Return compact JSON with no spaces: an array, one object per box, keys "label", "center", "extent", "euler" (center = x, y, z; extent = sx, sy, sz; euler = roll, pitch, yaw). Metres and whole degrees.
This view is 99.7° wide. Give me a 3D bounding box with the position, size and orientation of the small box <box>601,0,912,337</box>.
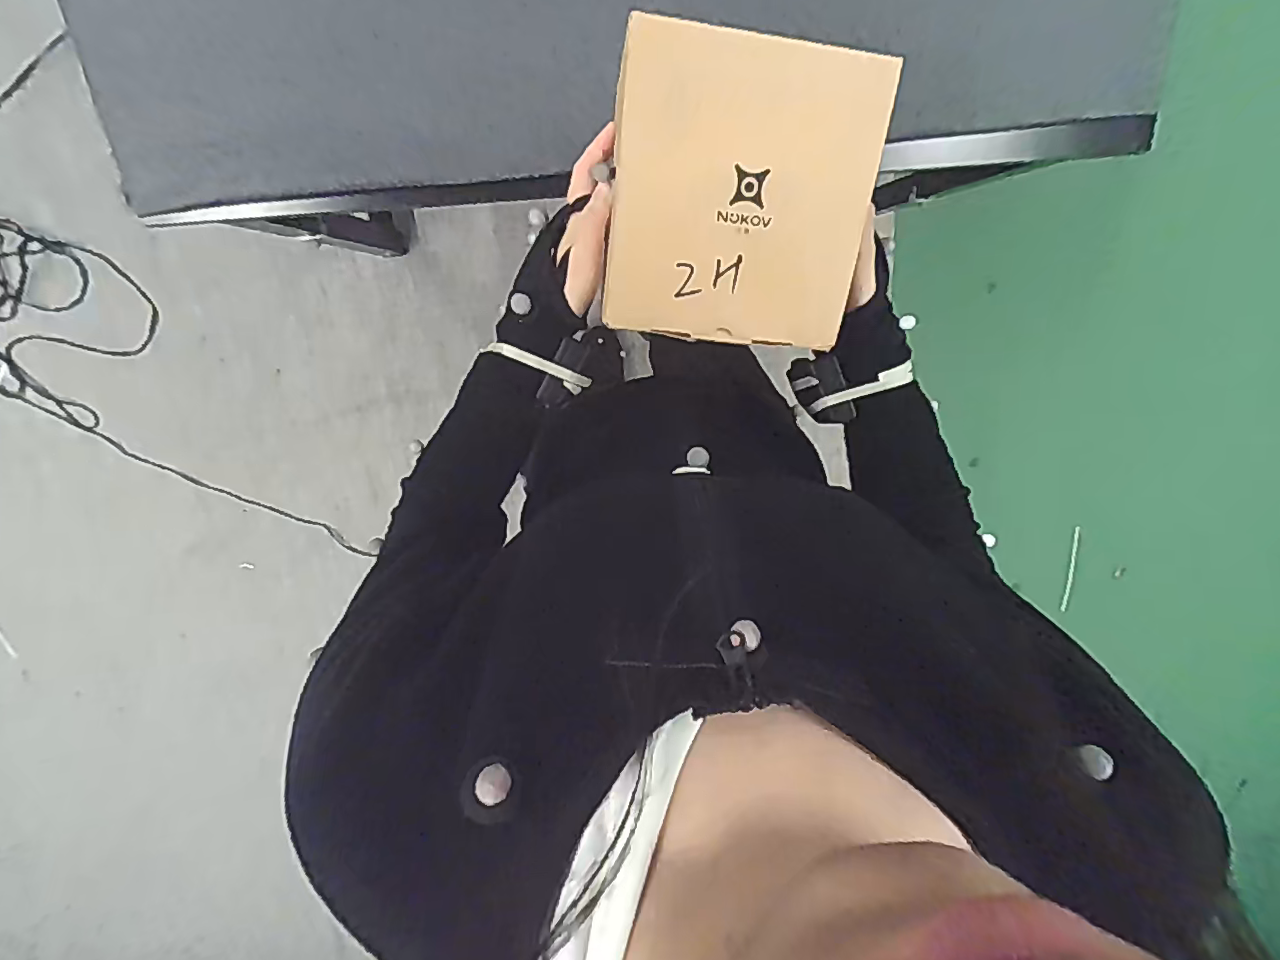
[{"label":"small box","center":[0.061,-0.213,0.404],"extent":[0.168,0.176,0.179],"euler":[4,111,-7]}]
